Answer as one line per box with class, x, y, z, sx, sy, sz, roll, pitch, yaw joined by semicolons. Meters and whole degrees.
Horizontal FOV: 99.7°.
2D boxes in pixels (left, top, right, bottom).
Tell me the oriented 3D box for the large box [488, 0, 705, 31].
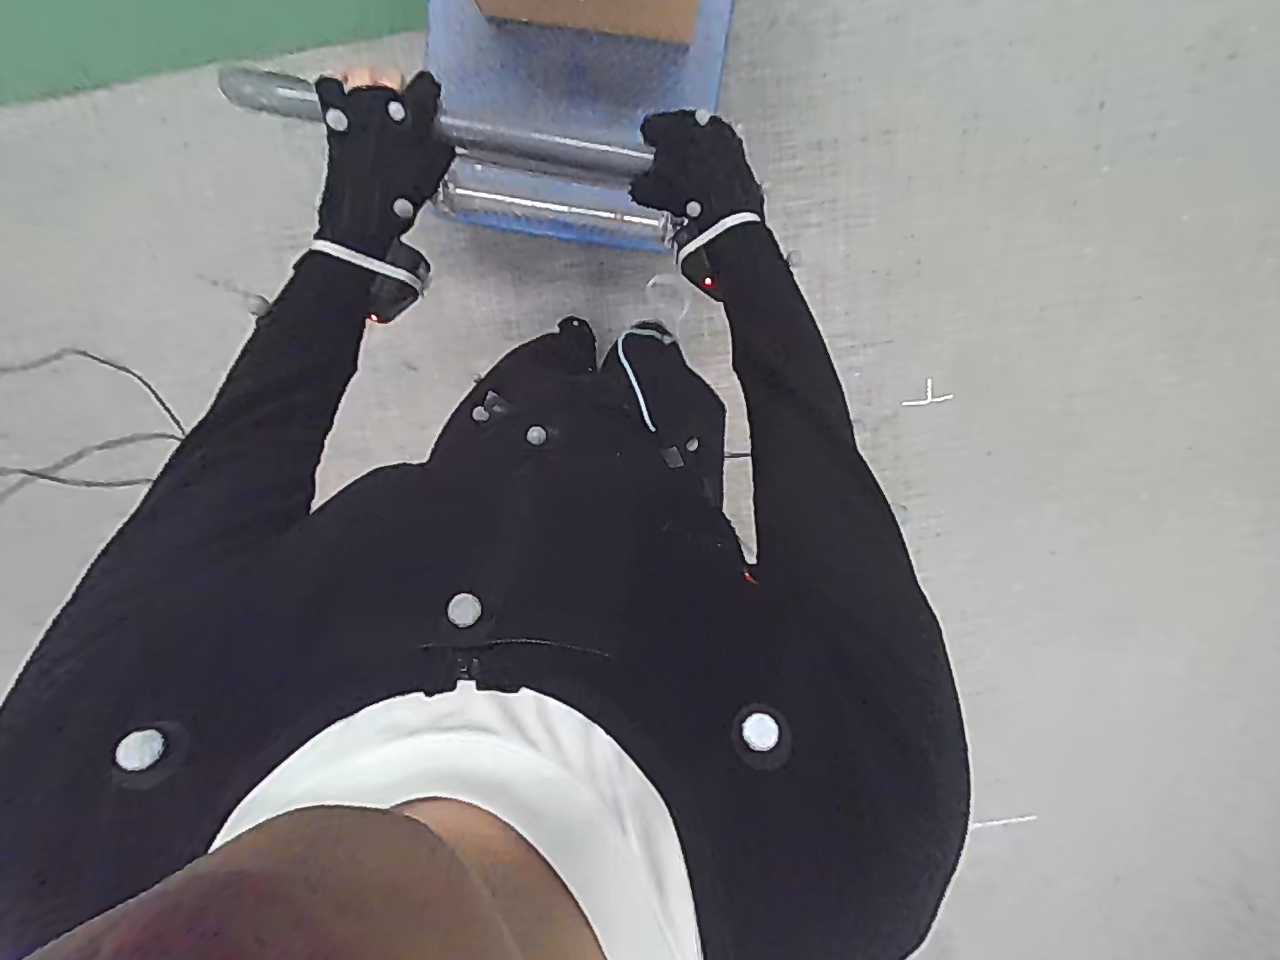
large box;-0.074;-0.982;0.859;0.408;0.320;0.320;5;106;-1
